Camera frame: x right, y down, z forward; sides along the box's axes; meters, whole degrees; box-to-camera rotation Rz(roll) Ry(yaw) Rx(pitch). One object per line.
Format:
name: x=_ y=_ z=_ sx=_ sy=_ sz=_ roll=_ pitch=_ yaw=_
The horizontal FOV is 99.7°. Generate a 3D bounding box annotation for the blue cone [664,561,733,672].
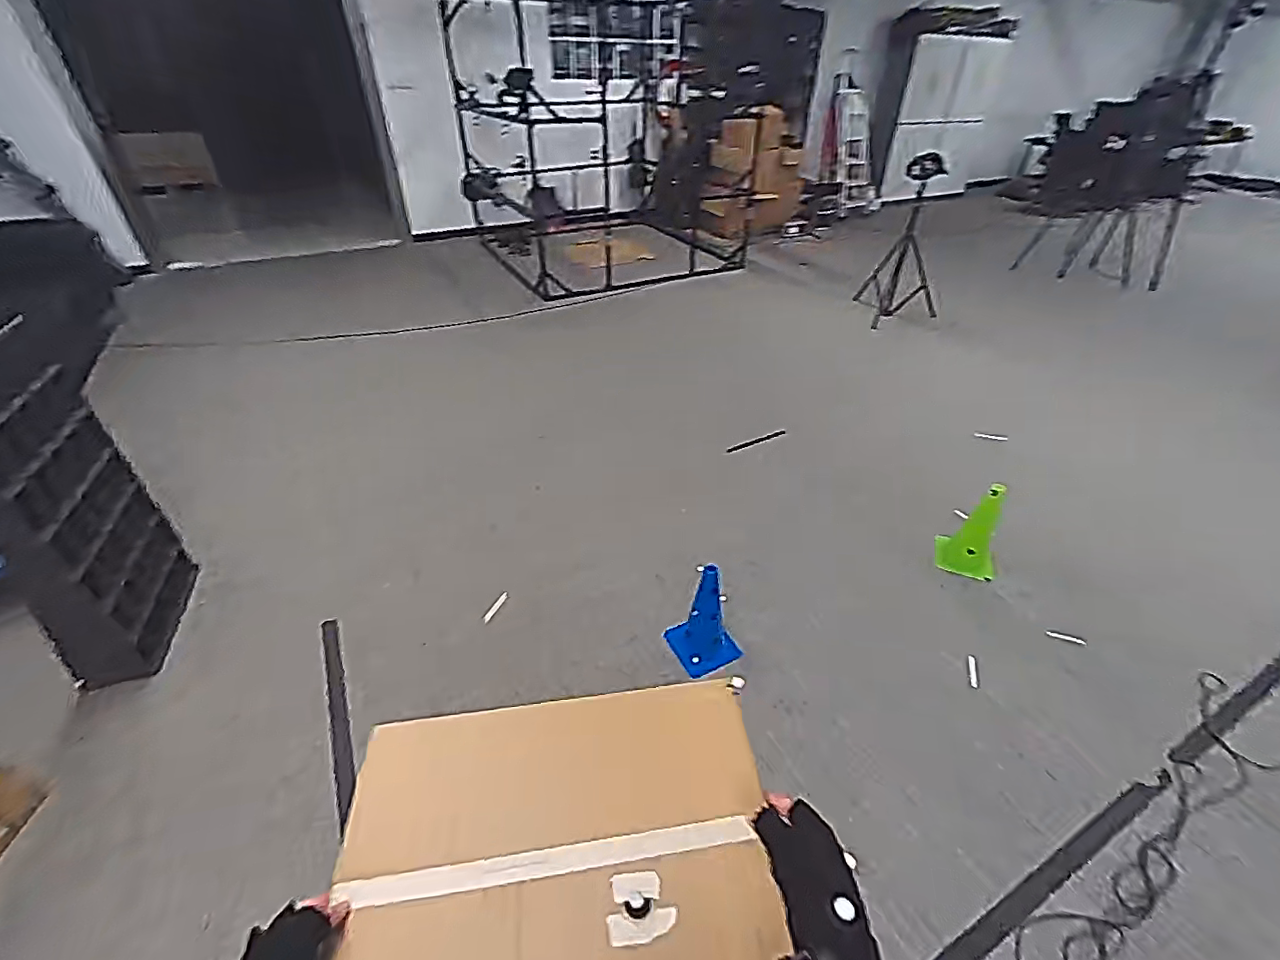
blue cone: x=0.196 y=0.409 z=1.701 sx=0.193 sy=0.380 sz=0.192 roll=-15 pitch=39 yaw=-20

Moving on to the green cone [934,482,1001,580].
green cone: x=1.257 y=0.162 z=2.008 sx=0.202 sy=0.368 sz=0.200 roll=14 pitch=38 yaw=20
